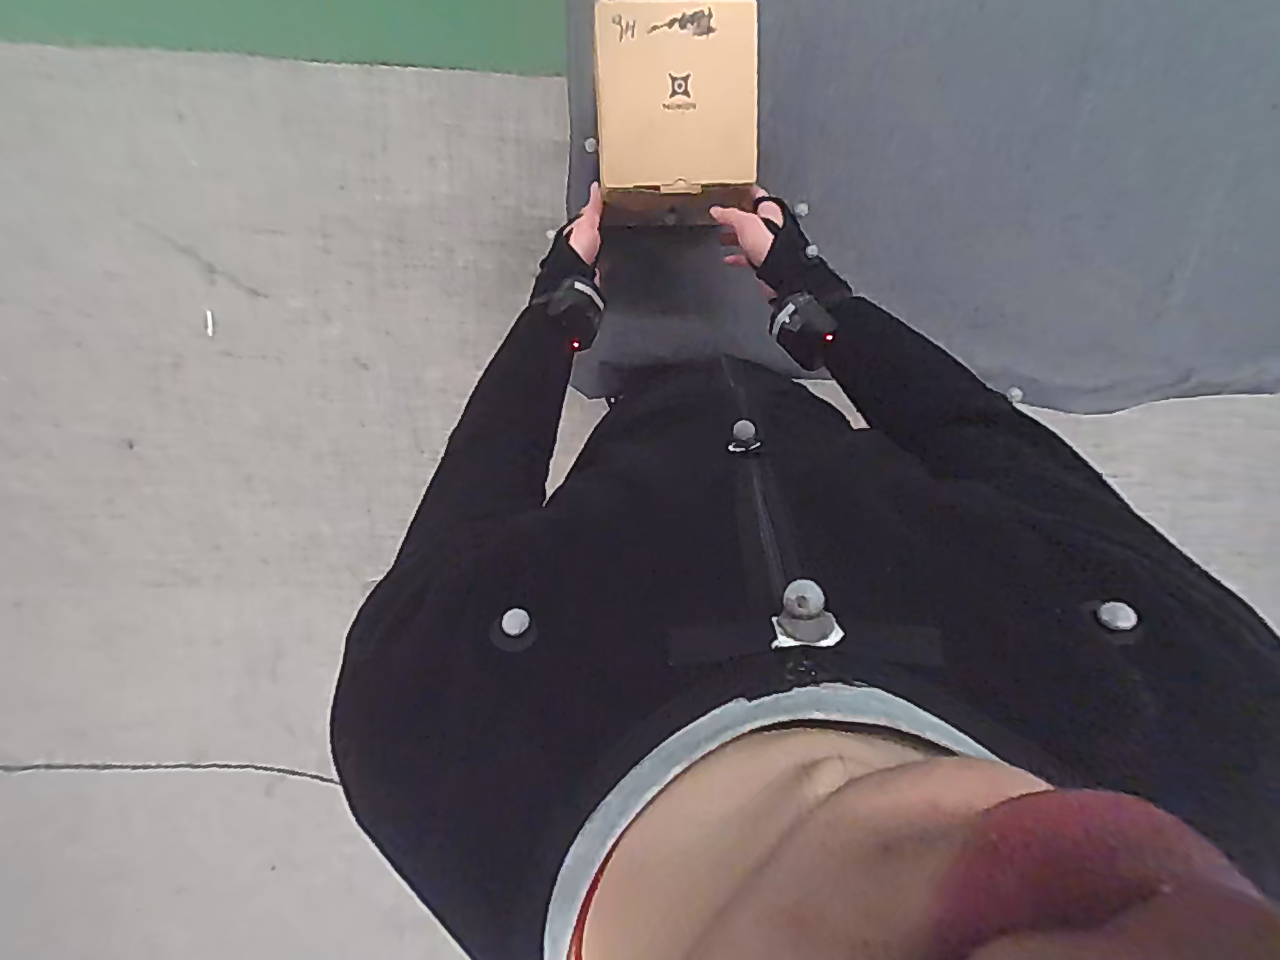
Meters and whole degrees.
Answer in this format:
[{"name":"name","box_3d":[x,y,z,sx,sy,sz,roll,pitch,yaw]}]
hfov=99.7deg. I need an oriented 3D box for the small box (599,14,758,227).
[{"name":"small box","box_3d":[0.036,-0.411,0.650,0.168,0.176,0.179,-3,104,-4]}]
